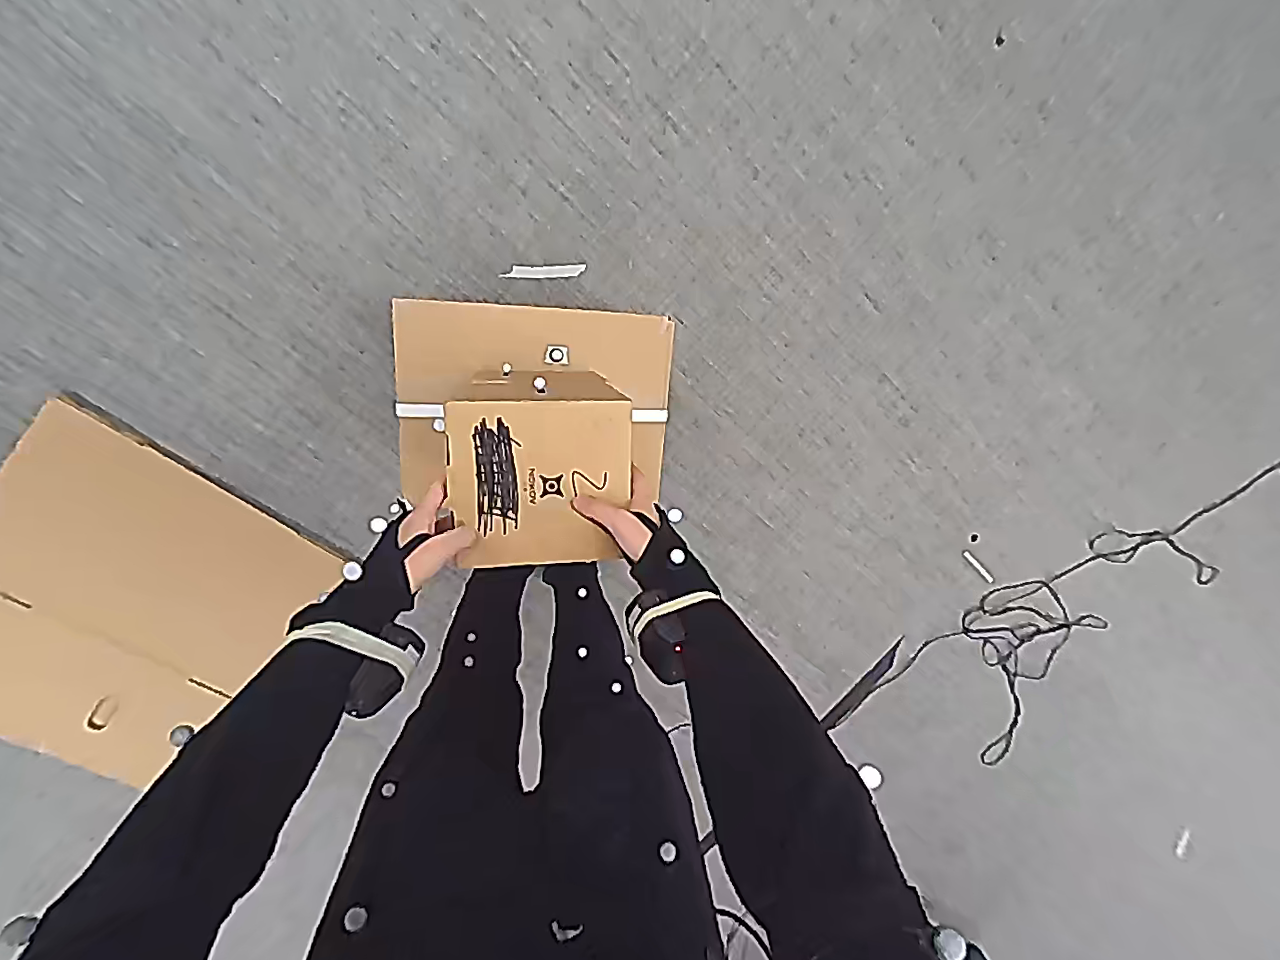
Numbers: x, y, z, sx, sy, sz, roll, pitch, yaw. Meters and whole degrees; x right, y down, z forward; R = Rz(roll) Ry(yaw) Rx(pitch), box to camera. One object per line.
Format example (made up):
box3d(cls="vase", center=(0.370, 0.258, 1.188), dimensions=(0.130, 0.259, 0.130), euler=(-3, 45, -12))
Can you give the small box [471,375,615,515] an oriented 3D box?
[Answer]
box3d(cls="small box", center=(-0.132, -0.056, 0.755), dimensions=(0.179, 0.176, 0.168), euler=(-3, 106, -12))
